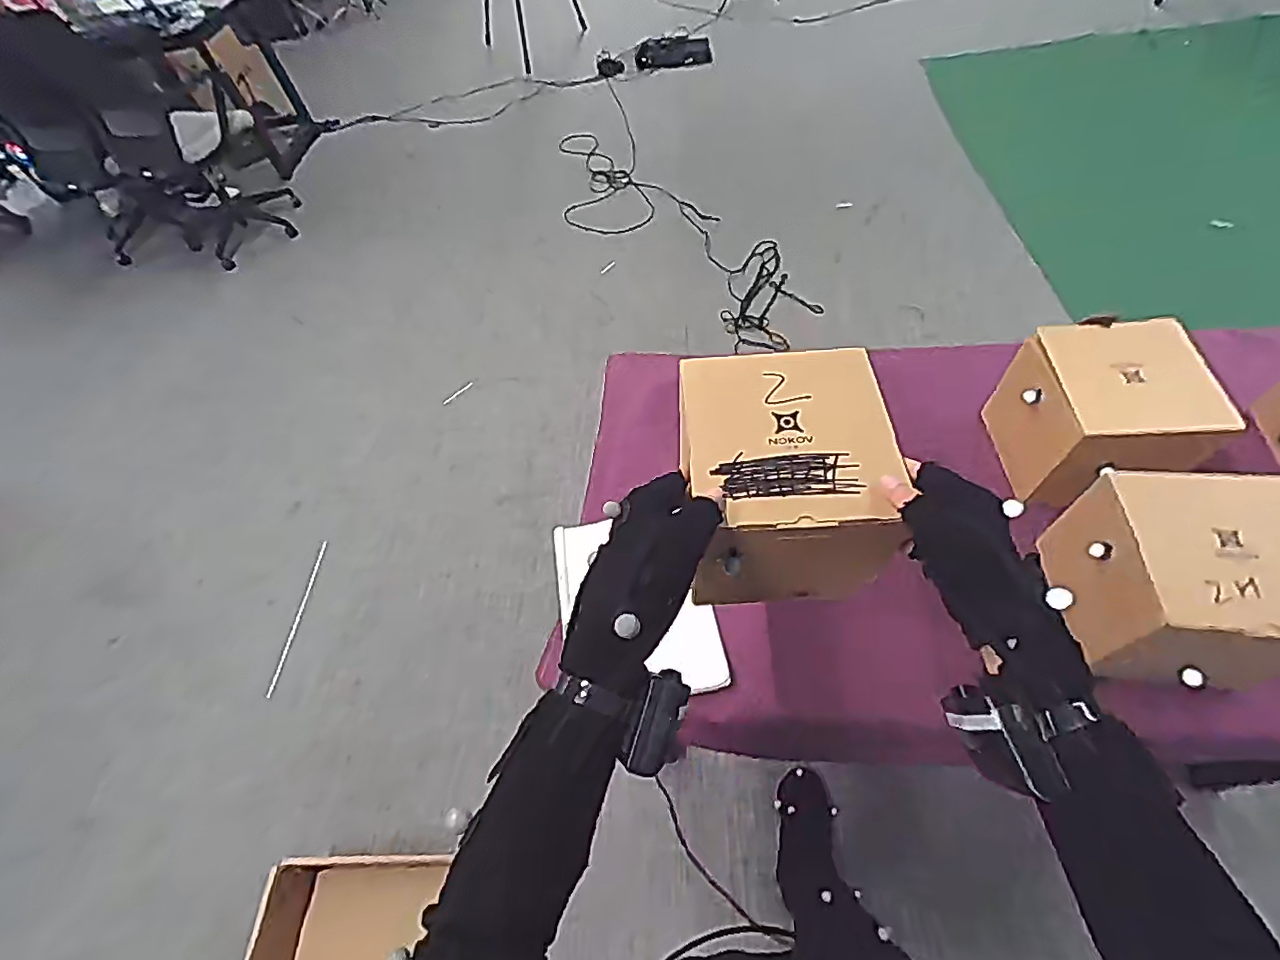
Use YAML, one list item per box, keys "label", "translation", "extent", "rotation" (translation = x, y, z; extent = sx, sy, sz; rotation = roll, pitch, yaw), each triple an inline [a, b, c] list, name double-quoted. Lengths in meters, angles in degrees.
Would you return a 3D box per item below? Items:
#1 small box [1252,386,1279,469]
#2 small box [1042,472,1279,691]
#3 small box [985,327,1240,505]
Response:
- label: "small box"
  translation: [0.933, -0.067, 0.656]
  extent: [0.168, 0.176, 0.179]
  rotation: [4, 58, 11]
- label: "small box"
  translation: [0.582, 0.112, 0.589]
  extent: [0.168, 0.176, 0.179]
  rotation: [2, 56, 11]
- label: "small box"
  translation: [0.599, -0.076, 0.719]
  extent: [0.168, 0.176, 0.179]
  rotation: [-2, 55, 8]
